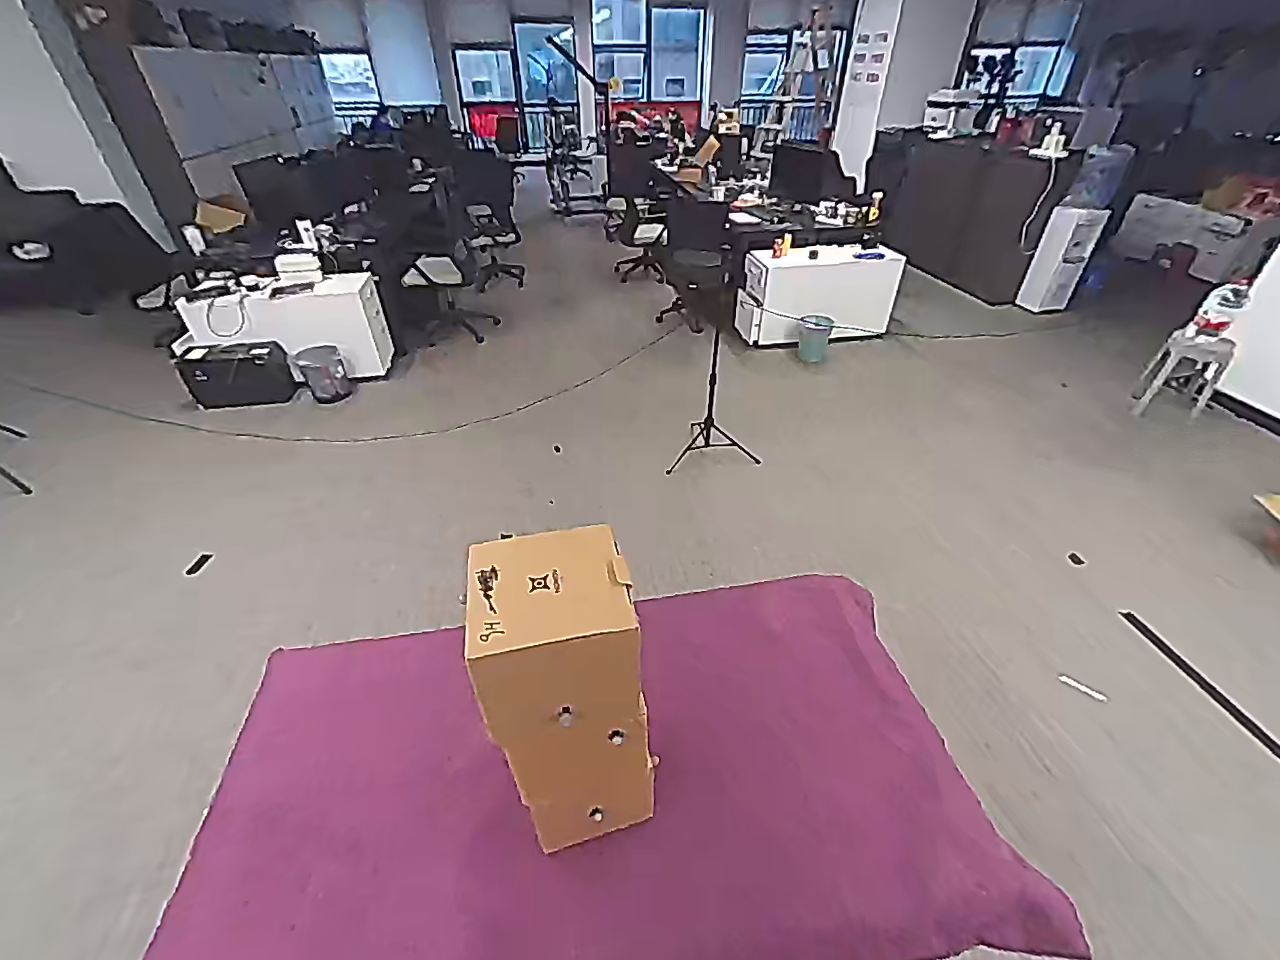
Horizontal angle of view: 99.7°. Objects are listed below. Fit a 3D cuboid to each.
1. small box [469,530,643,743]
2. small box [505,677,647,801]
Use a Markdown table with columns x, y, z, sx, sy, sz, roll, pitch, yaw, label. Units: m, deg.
| x | y | z | sx | sy | sz | roll | pitch | yaw | label |
| --- | --- | --- | --- | --- | --- | --- | --- | --- | --- |
| -0.099 | 0.184 | 0.648 | 0.179 | 0.176 | 0.168 | -7 | 36 | -10 | small box |
| -0.090 | 0.313 | 0.750 | 0.179 | 0.176 | 0.168 | -7 | 37 | -9 | small box |
